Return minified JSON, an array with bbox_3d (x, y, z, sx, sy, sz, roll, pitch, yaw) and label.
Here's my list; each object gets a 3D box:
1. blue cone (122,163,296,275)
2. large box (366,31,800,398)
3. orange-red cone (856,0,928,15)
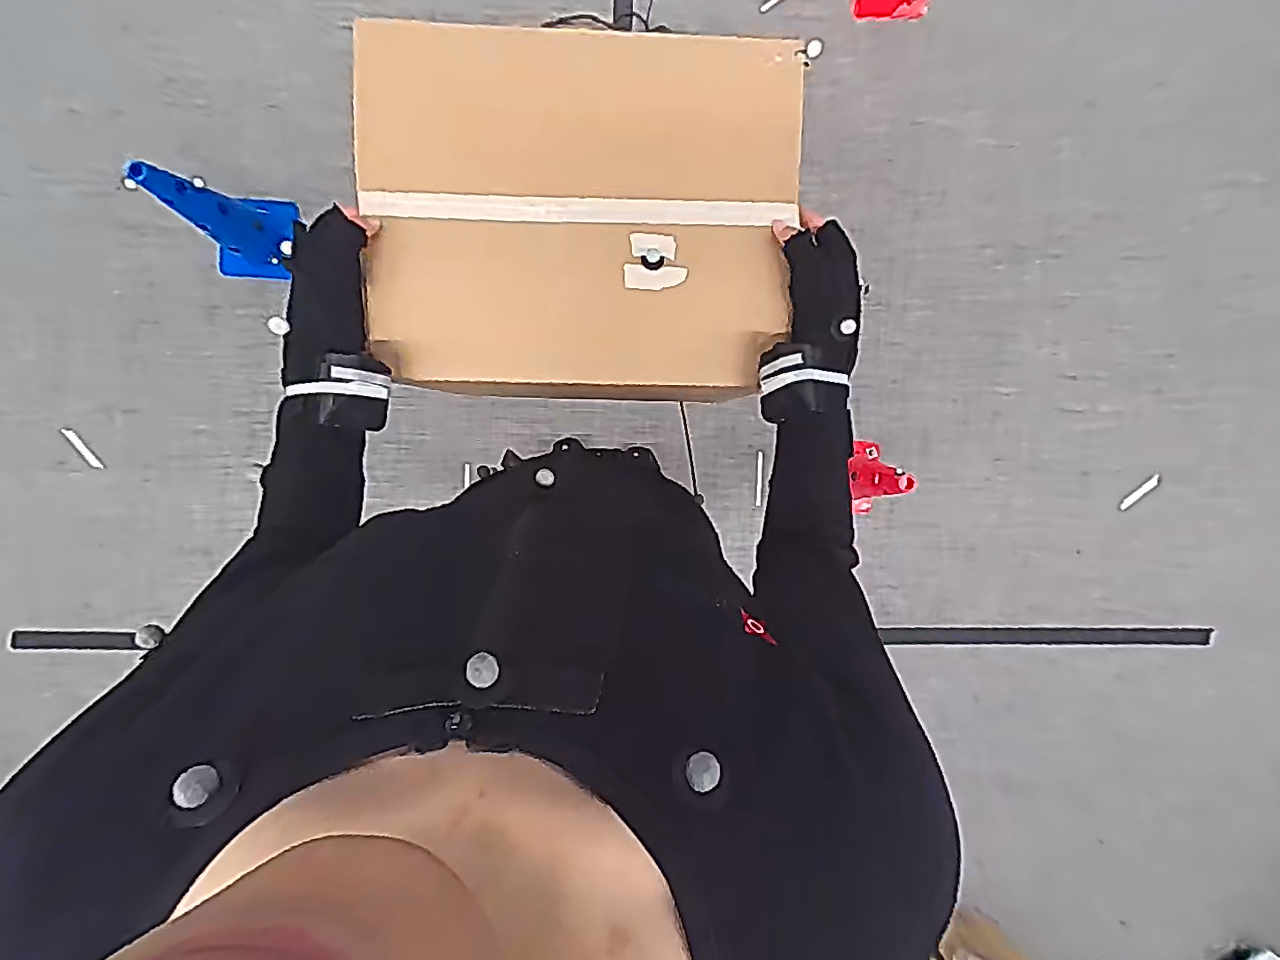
[{"bbox_3d":[-0.994,-0.621,1.248,0.192,0.380,0.193,5,94,-1],"label":"blue cone"},{"bbox_3d":[-0.058,-0.265,0.656,0.408,0.320,0.320,1,96,-3],"label":"large box"},{"bbox_3d":[0.660,-1.304,1.228,0.198,0.360,0.199,-1,93,-2],"label":"orange-red cone"}]
